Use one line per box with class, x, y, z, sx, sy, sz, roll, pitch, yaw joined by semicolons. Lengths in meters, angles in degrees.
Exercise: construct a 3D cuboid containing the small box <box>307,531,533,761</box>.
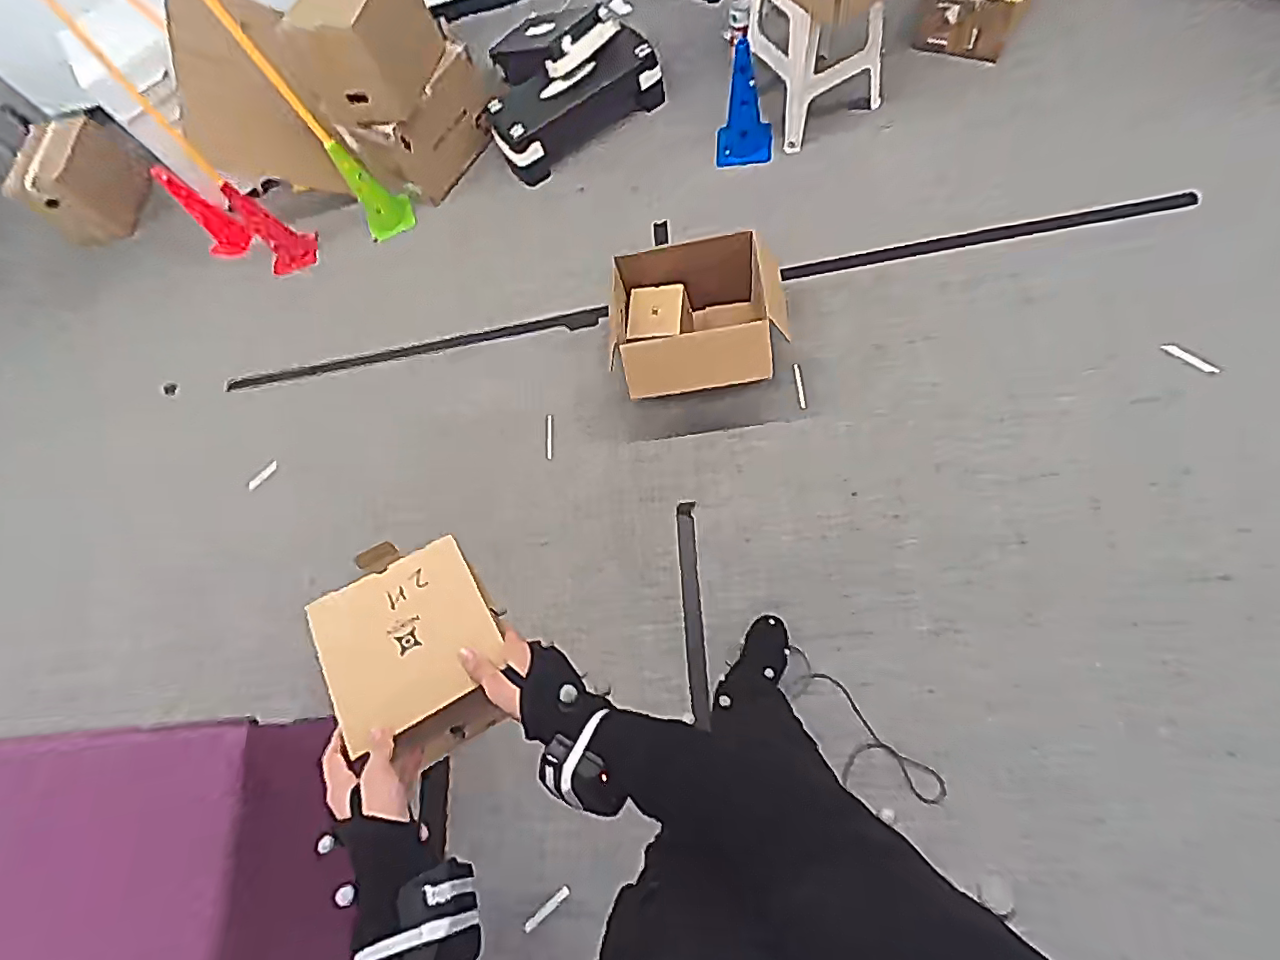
small box;-0.236;0.195;0.615;0.168;0.176;0.179;-26;61;-17
